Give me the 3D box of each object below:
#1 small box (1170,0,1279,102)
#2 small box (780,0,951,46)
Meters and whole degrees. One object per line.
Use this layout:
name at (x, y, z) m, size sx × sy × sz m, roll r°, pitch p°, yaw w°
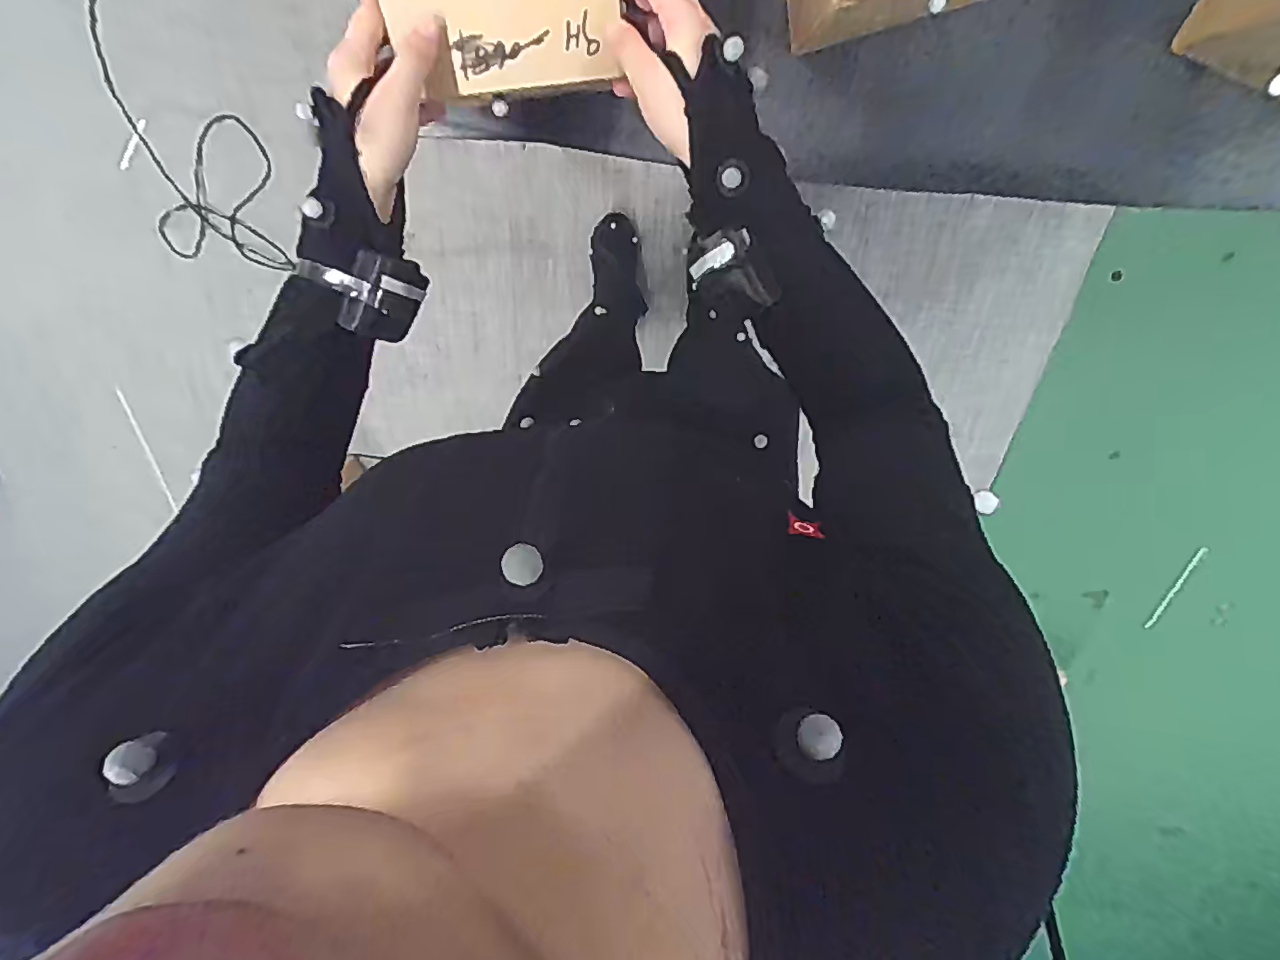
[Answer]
small box at (0.564, -0.404, 0.386) m, size 0.168 × 0.176 × 0.179 m, roll 18°, pitch 119°, yaw -5°
small box at (0.195, -0.452, 0.394) m, size 0.179 × 0.176 × 0.168 m, roll -11°, pitch 118°, yaw 9°
